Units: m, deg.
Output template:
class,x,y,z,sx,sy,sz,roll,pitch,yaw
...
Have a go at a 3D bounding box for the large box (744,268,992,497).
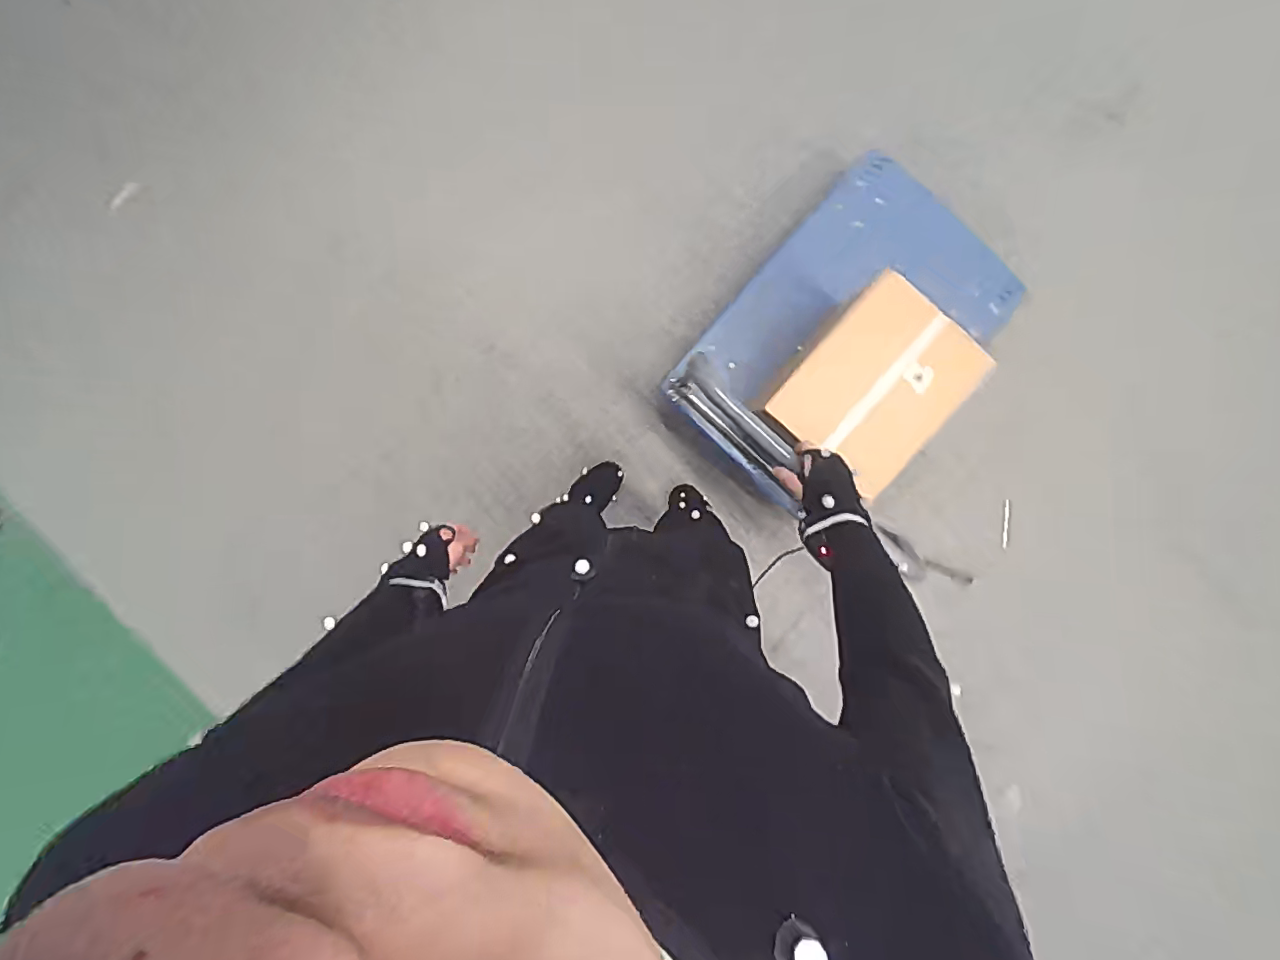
class,x,y,z,sx,sy,sz,roll,pitch,yaw
large box,0.516,-0.211,1.310,0.320,0.320,0.408,42,92,-3
